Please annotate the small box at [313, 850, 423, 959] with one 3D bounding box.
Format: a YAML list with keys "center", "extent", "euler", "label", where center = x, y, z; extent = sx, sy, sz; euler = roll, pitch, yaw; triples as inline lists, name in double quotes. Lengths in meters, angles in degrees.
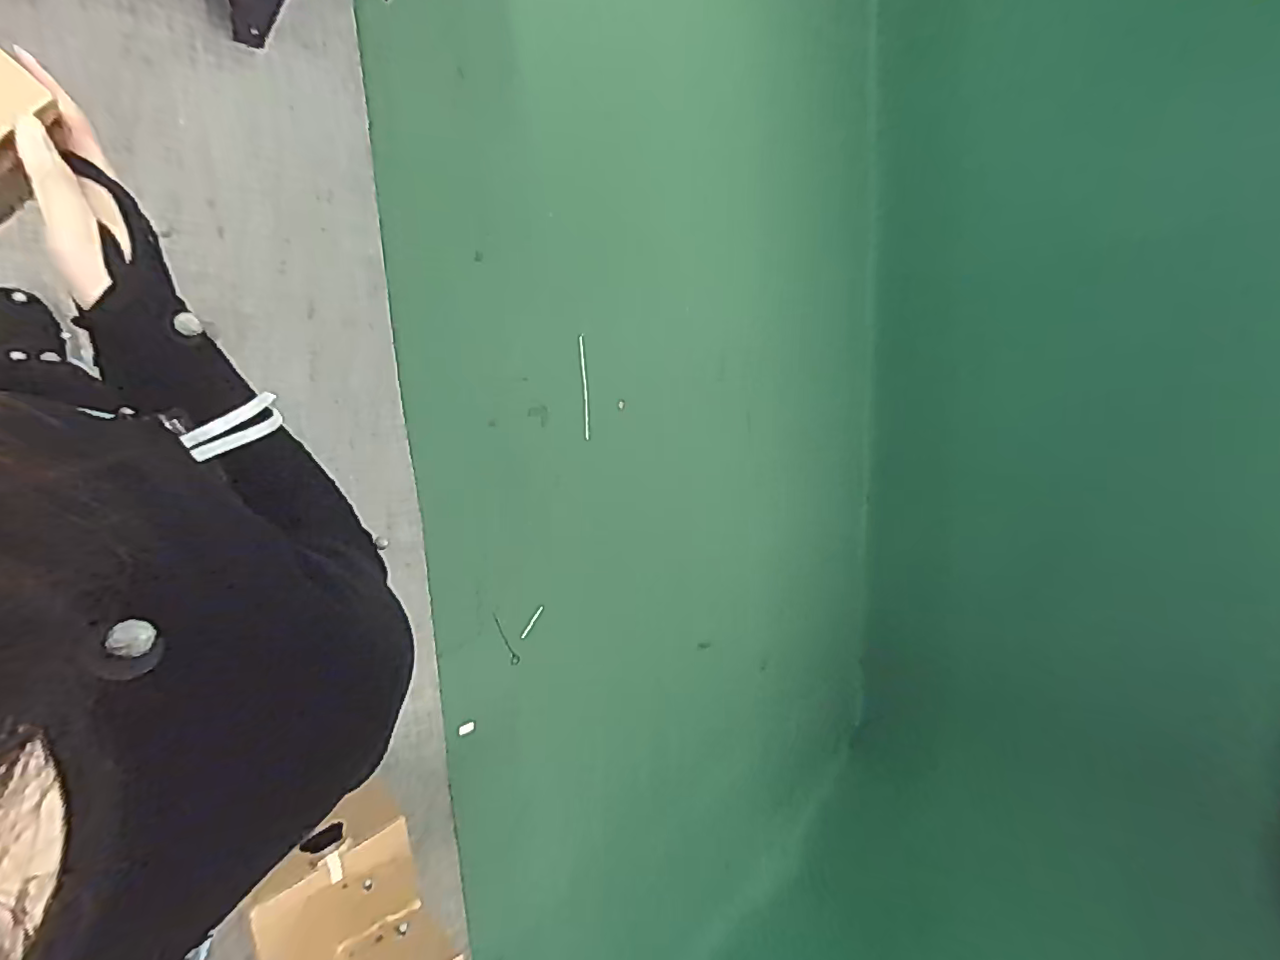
- center: [-0.586, 0.953, 1.161]
  extent: [0.168, 0.176, 0.179]
  euler: [0, 95, -47]
  label: "small box"

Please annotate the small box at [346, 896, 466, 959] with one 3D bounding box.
- center: [-0.464, 0.977, 1.055]
  extent: [0.168, 0.176, 0.179]
  euler: [5, 91, -48]
  label: "small box"

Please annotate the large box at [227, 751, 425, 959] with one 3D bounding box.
- center: [-0.762, 0.981, 1.334]
  extent: [0.320, 0.320, 0.408]
  euler: [-15, 107, -44]
  label: "large box"
